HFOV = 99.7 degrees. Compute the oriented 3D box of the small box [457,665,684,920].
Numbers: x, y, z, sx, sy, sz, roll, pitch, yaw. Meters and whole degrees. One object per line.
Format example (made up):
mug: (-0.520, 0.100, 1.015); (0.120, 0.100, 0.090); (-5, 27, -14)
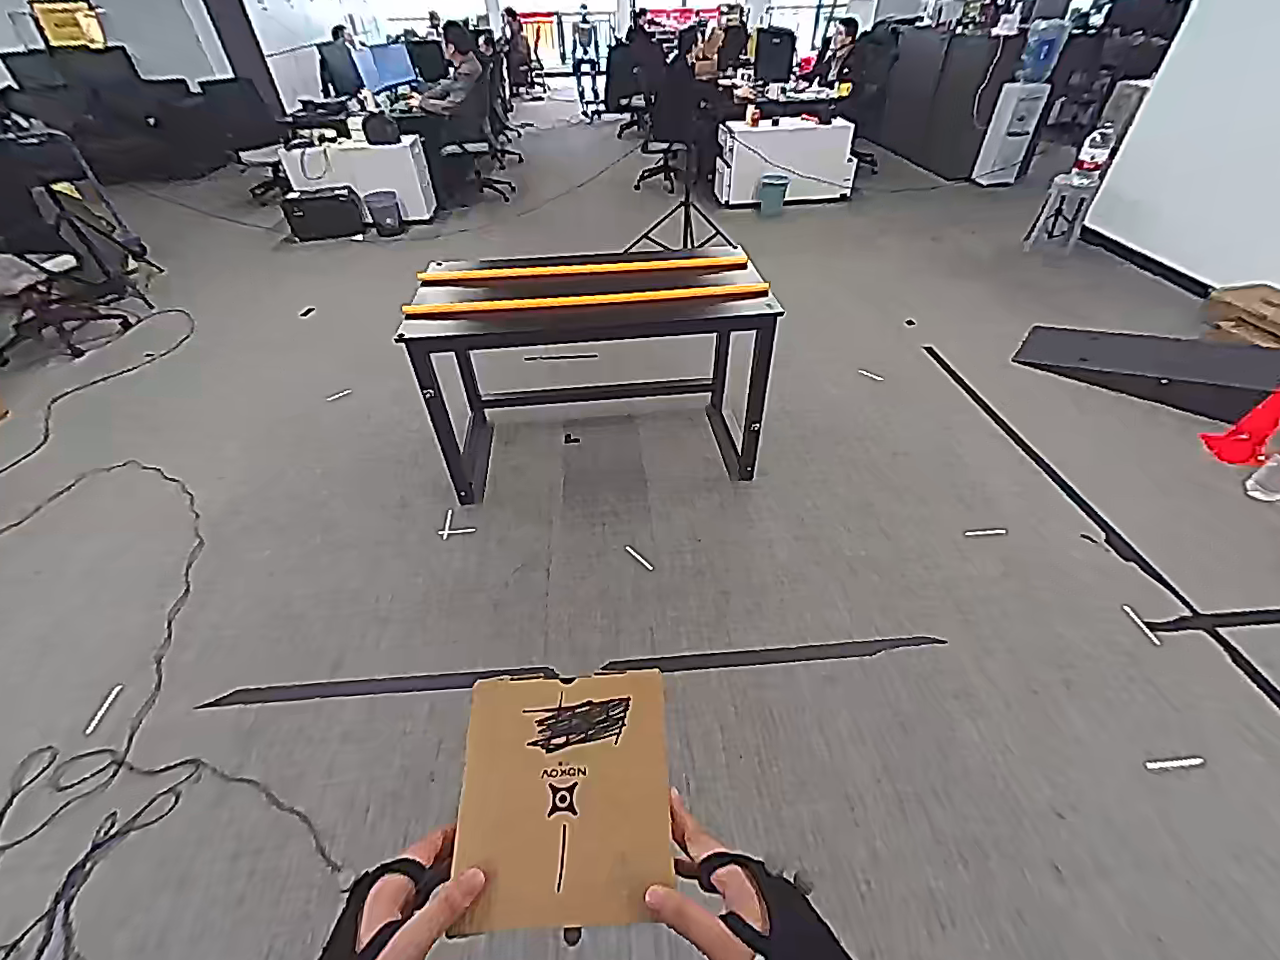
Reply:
small box: (-0.052, 0.287, 0.498); (0.168, 0.176, 0.179); (-4, 54, -1)
